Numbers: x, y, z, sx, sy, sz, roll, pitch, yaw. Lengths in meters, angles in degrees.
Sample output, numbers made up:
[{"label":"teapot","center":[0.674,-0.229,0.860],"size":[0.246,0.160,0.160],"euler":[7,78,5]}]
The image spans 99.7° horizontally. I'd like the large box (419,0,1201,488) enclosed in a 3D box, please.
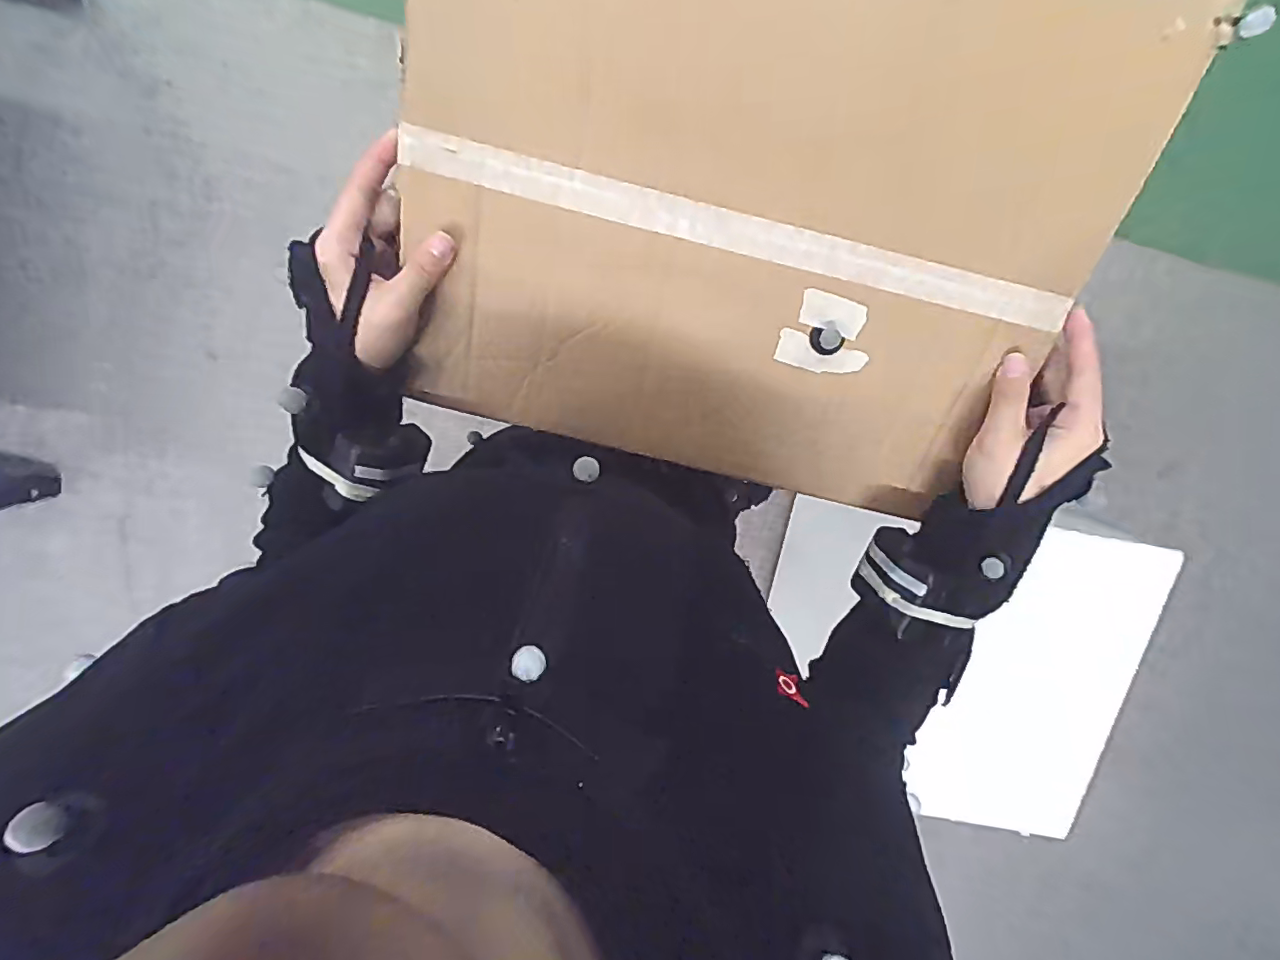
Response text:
[{"label":"large box","center":[0.070,-0.228,0.460],"size":[0.408,0.320,0.320],"euler":[12,117,-4]}]
